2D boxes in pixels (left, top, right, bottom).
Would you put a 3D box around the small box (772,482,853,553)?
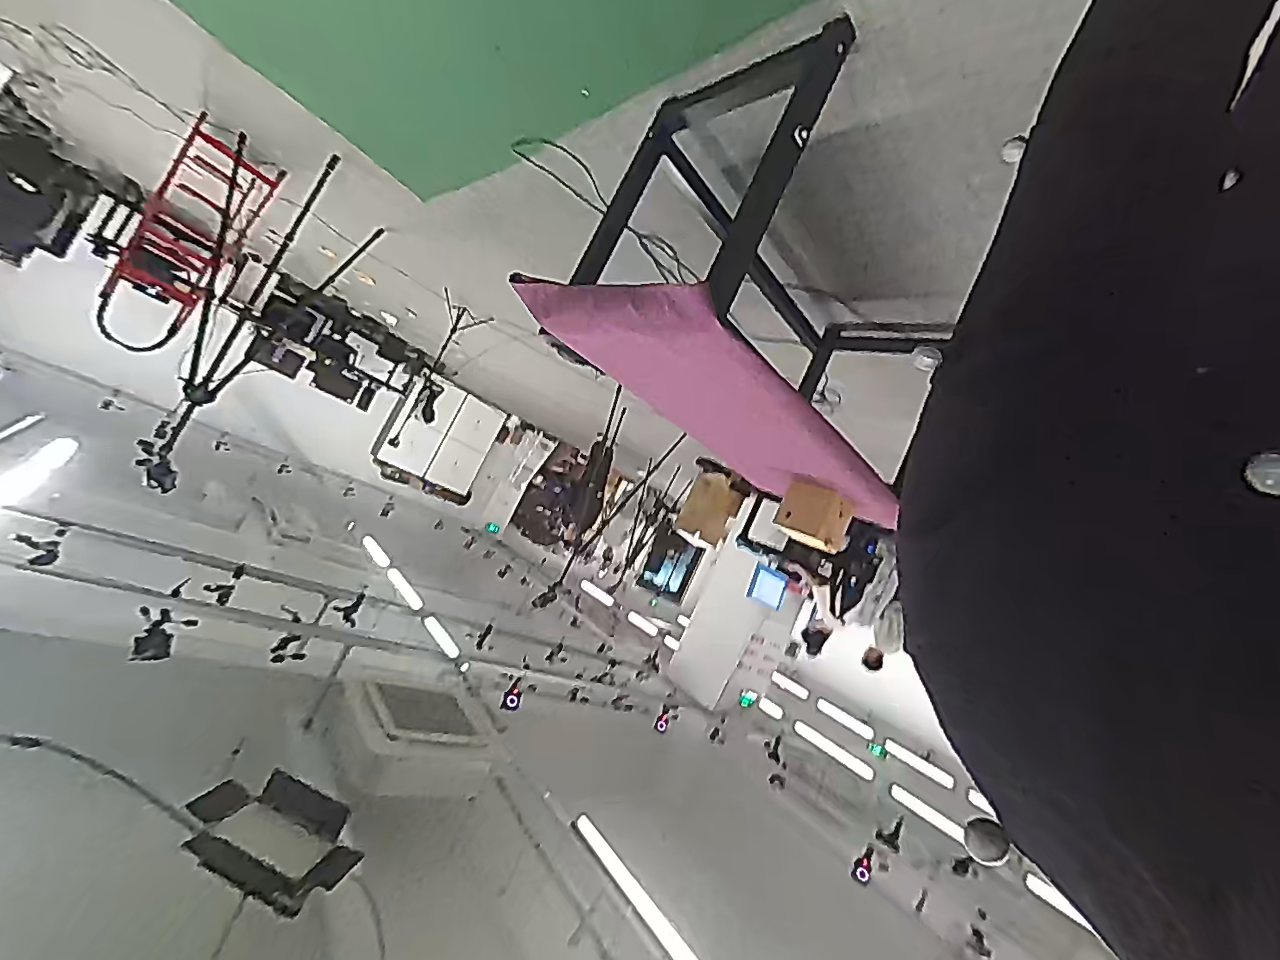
[{"bbox_3d":[0.584,0.121,1.826,0.168,0.176,0.179,31,172,-42],"label":"small box"}]
